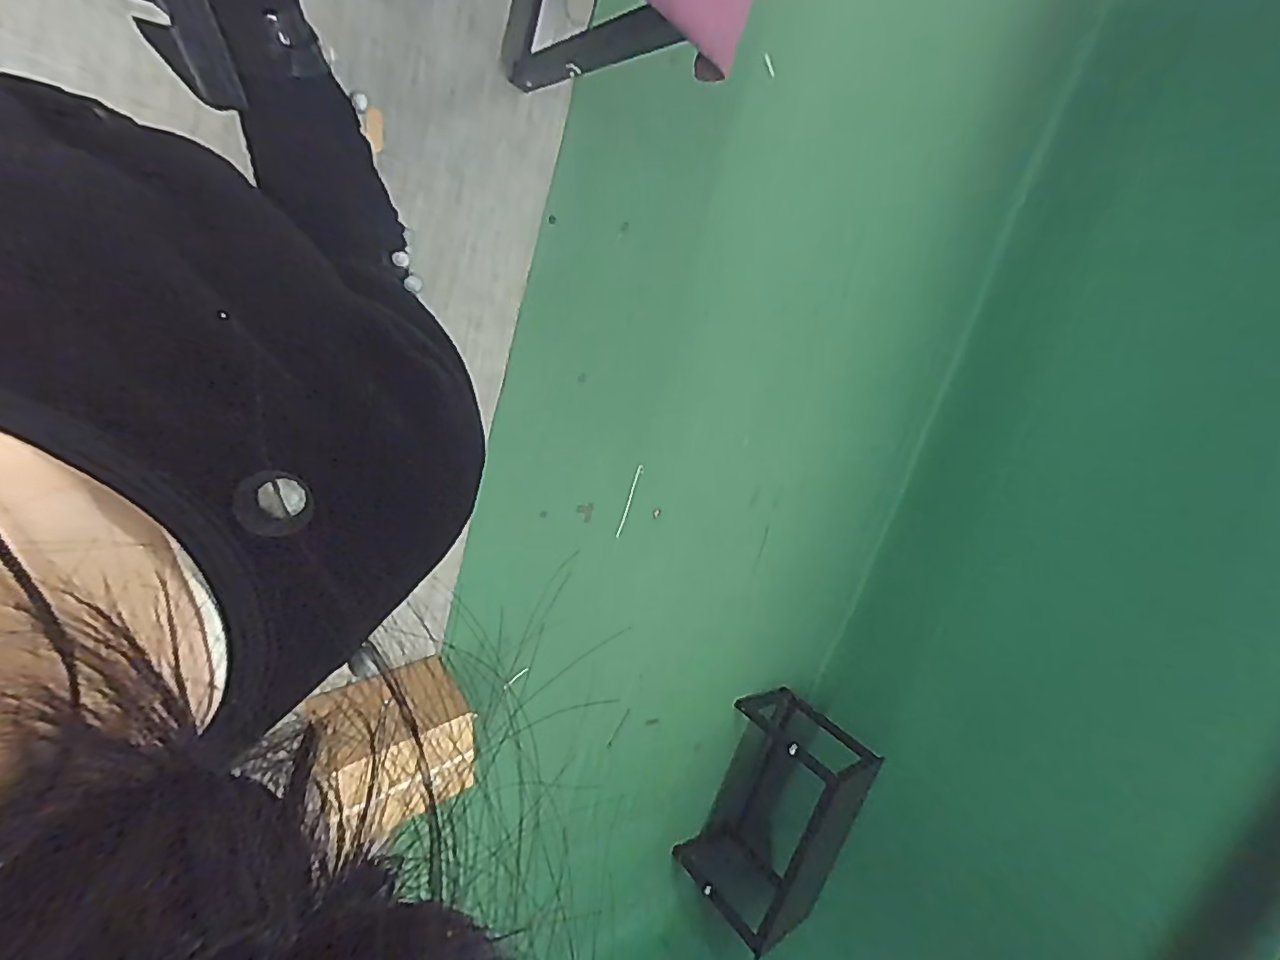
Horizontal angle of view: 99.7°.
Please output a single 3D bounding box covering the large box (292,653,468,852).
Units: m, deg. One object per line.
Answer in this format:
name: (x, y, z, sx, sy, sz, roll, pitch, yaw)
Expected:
large box: (-0.788, 0.802, 1.658, 0.408, 0.320, 0.320, -13, 119, -40)
